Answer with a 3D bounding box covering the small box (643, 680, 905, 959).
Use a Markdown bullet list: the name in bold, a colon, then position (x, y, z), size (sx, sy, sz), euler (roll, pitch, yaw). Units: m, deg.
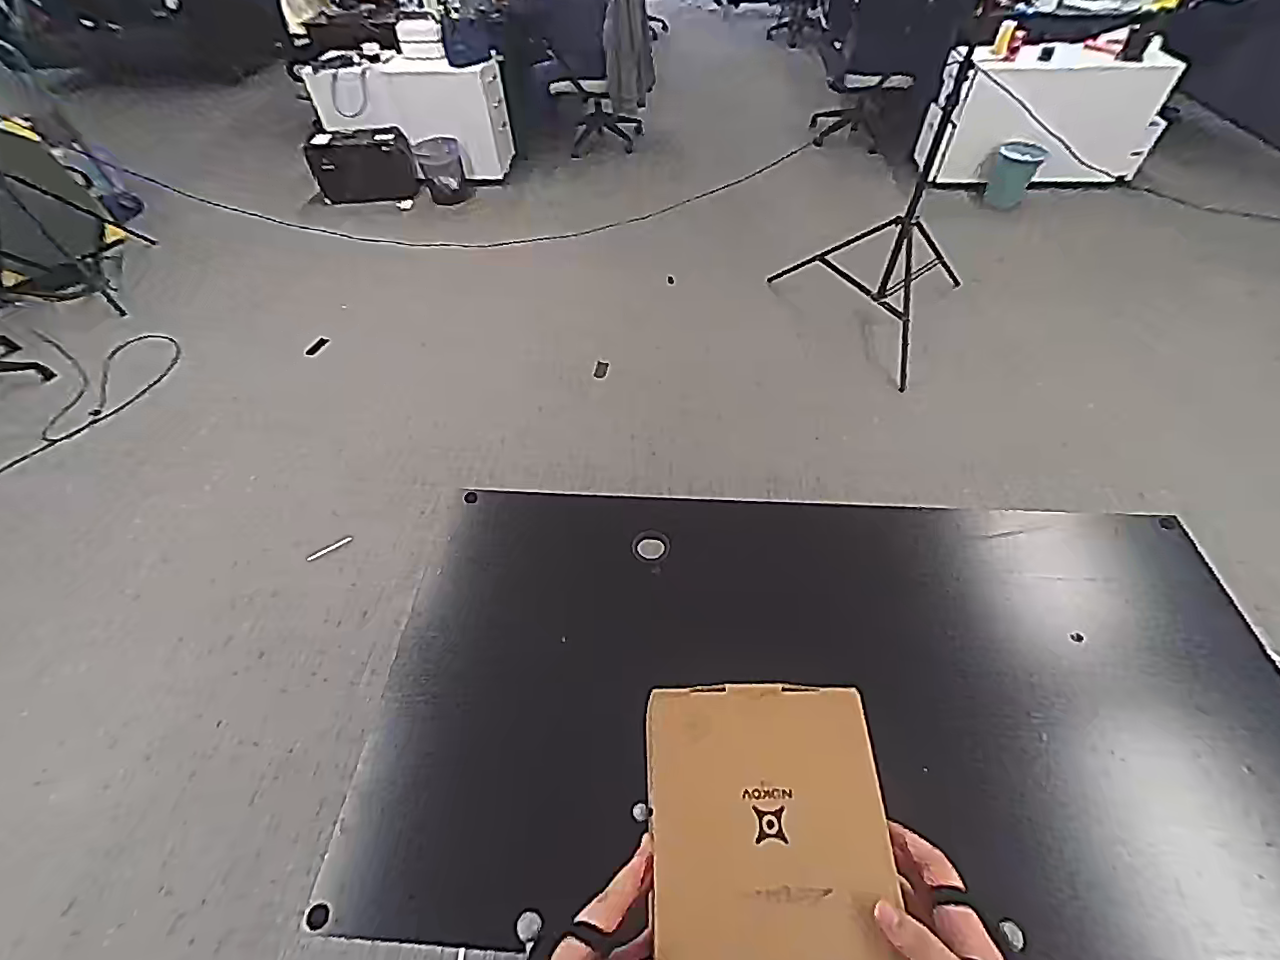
- **small box**: position (0.086, 0.277, 0.453), size (0.168, 0.176, 0.179), euler (-1, 58, 0)
